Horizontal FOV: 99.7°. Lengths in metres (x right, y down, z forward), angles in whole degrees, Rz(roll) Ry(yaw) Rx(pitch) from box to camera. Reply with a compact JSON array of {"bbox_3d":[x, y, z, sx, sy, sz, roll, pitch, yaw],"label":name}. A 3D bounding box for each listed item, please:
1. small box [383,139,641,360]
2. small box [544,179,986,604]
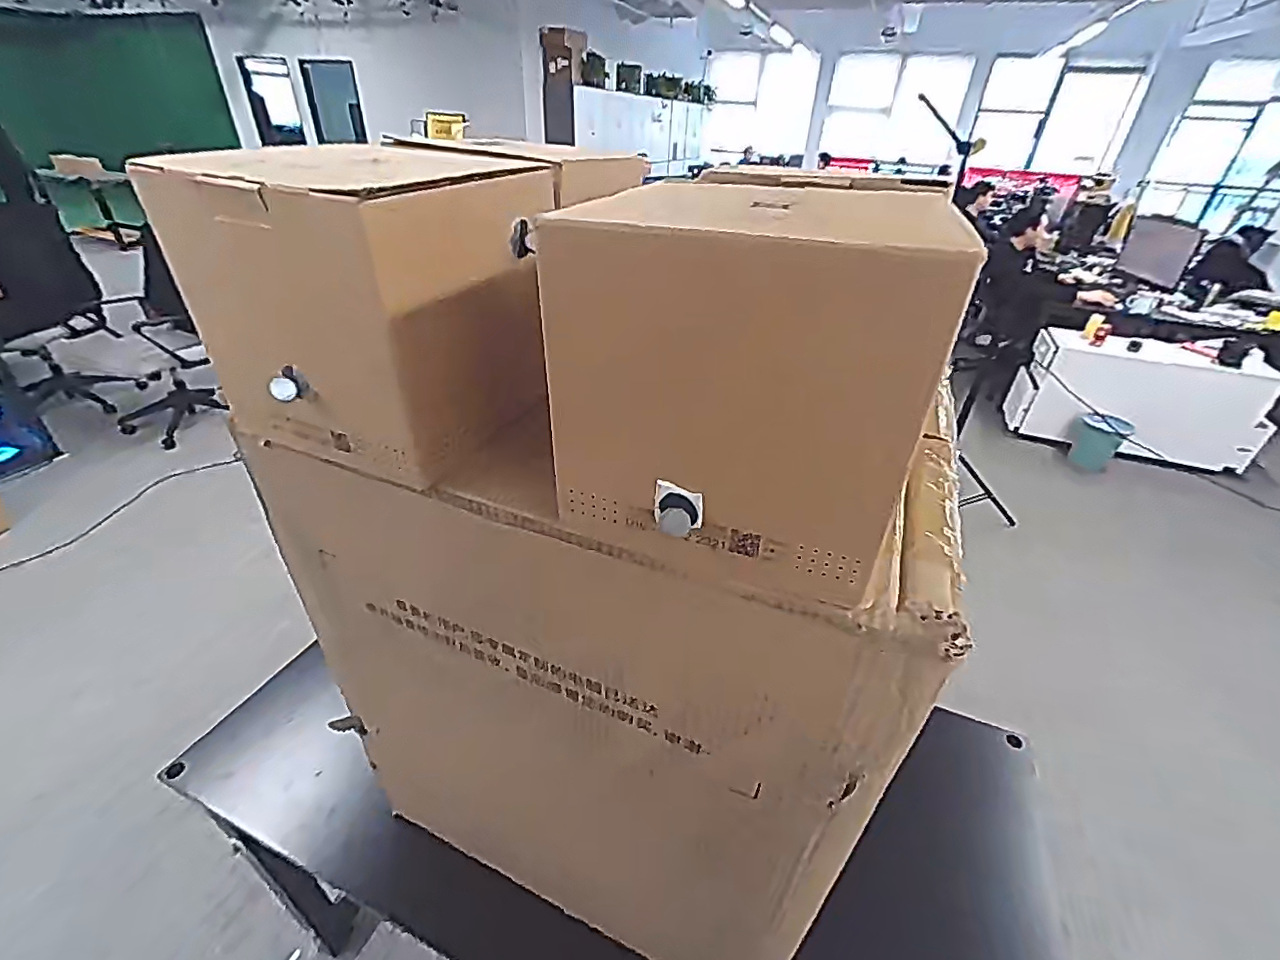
[{"bbox_3d":[-0.114,-0.230,0.535,0.179,0.176,0.168,17,35,18],"label":"small box"},{"bbox_3d":[0.063,-0.064,0.305,0.168,0.176,0.179,11,36,16],"label":"small box"}]
